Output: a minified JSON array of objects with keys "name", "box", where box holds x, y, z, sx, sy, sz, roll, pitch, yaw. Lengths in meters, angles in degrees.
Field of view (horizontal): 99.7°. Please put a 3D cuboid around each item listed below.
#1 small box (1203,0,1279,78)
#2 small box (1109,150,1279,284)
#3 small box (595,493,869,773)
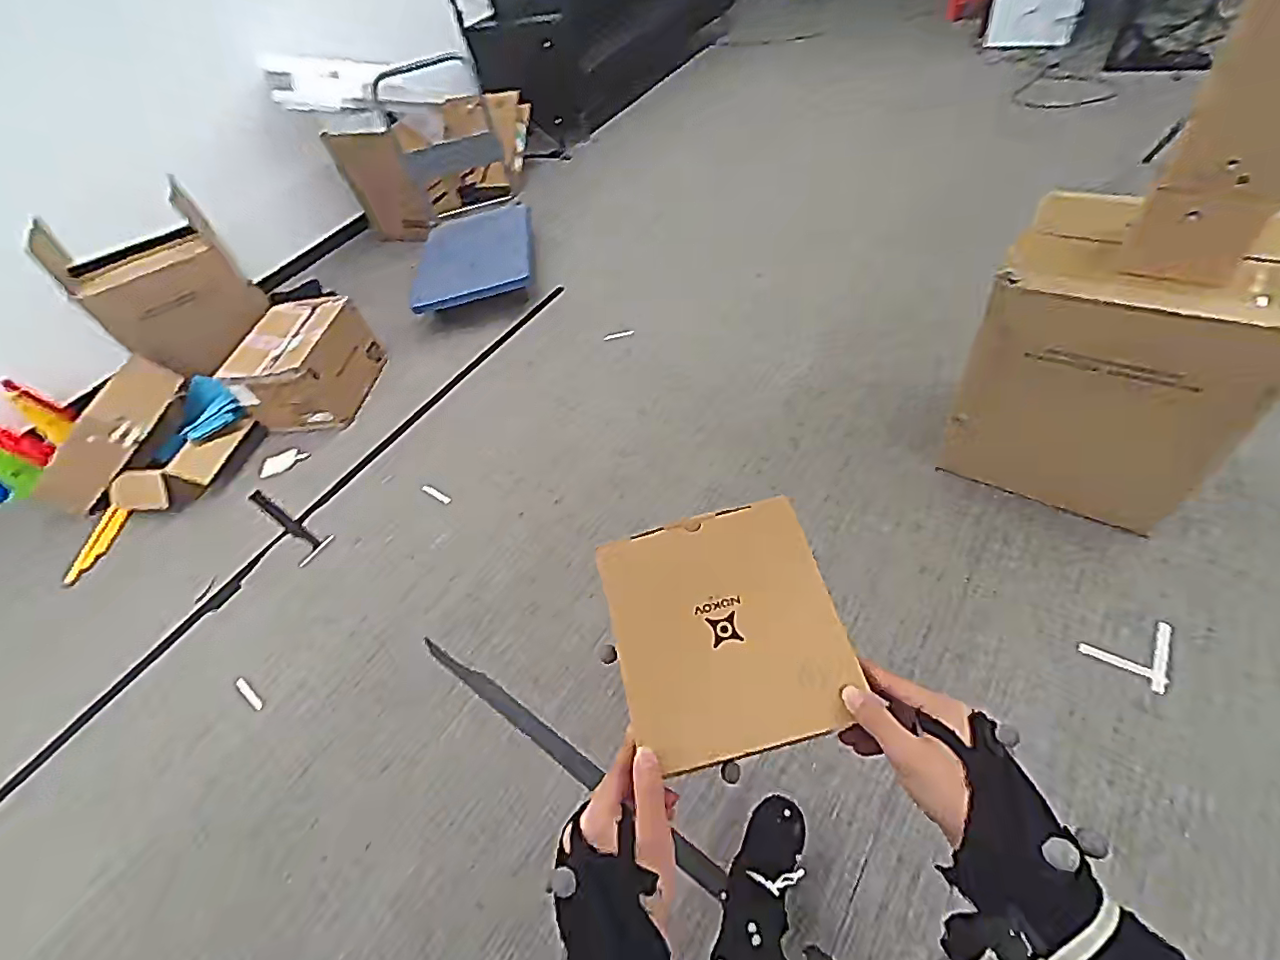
[{"name":"small box","box":[0.976,-0.702,0.771,0.179,0.176,0.168,24,62,30]},{"name":"small box","box":[1.038,-0.496,1.021,0.179,0.176,0.168,25,62,29]},{"name":"small box","box":[0.070,0.141,0.471,0.168,0.176,0.179,-15,59,0]}]
